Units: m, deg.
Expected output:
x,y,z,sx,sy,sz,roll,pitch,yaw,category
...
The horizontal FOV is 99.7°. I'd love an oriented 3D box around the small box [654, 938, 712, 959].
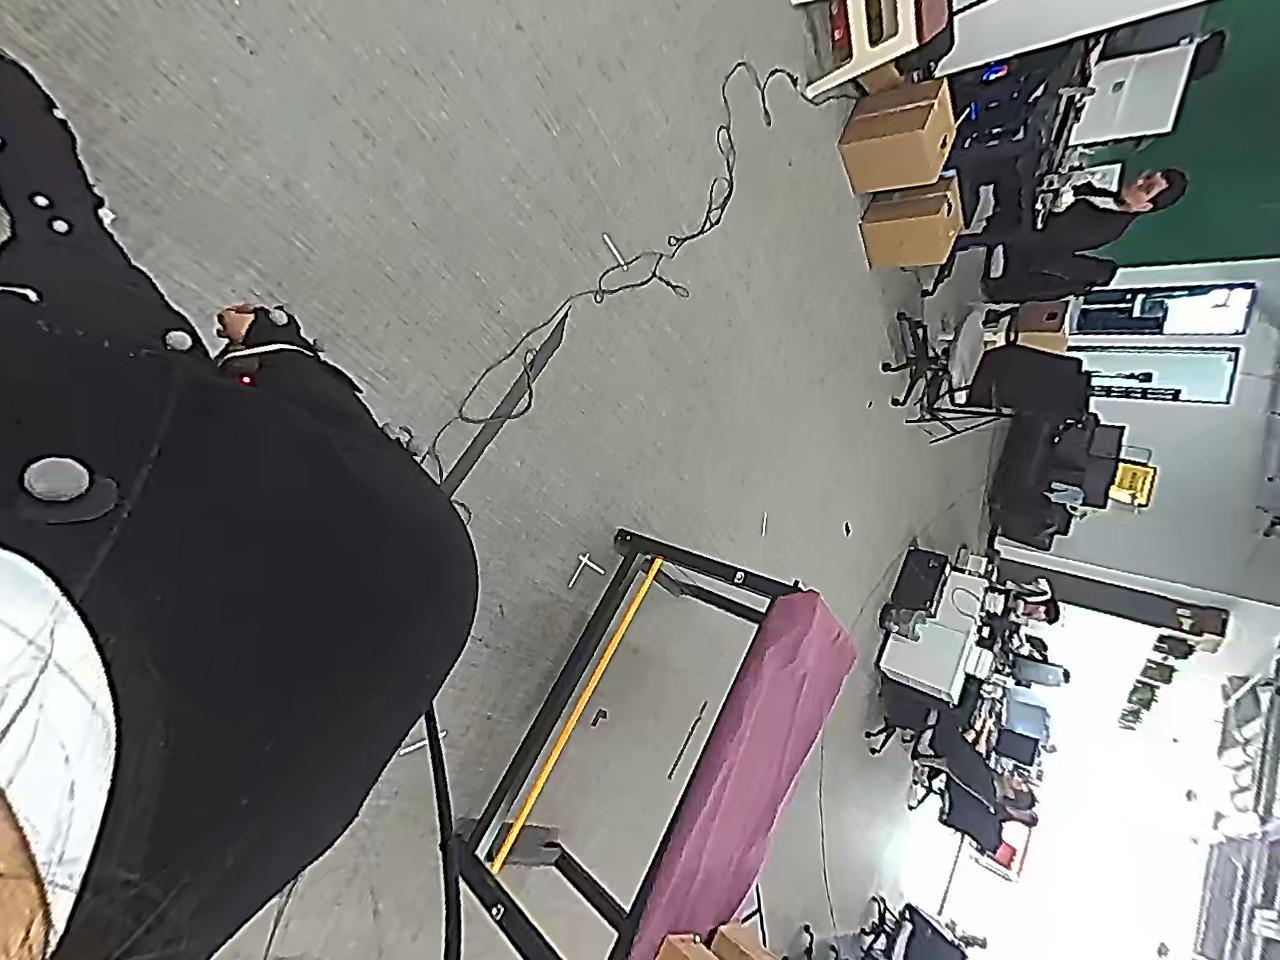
x,y,z,sx,sy,sz,roll,pitch,yaw,category
0.111,1.260,1.312,0.179,0.176,0.168,-58,137,-19,small box
